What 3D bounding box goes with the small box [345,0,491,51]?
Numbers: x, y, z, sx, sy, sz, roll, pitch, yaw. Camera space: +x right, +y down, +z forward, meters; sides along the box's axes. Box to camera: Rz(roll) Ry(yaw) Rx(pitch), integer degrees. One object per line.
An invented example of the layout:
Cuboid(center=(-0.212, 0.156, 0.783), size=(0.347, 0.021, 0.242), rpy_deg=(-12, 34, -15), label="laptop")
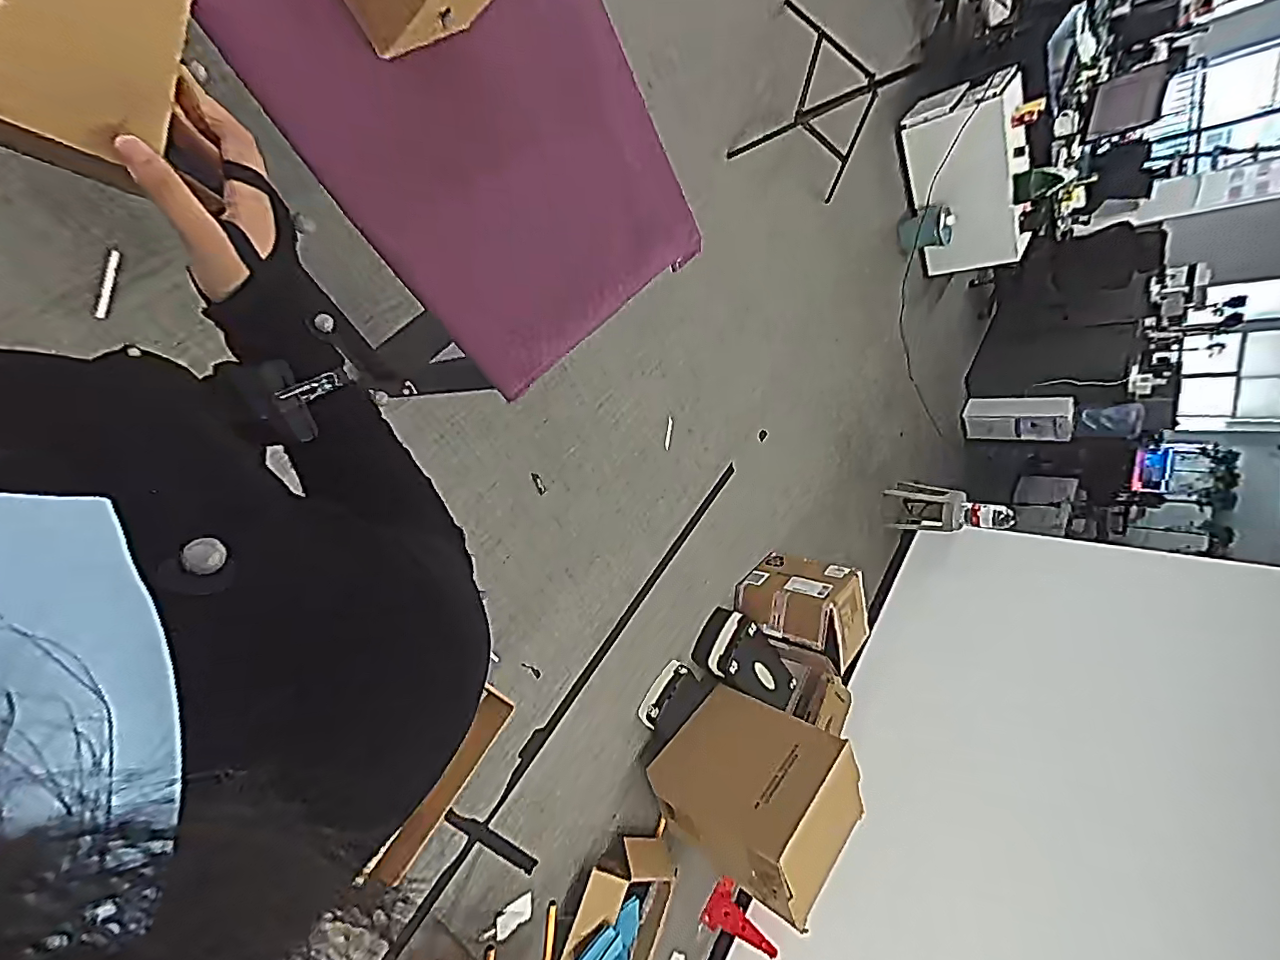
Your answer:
Cuboid(center=(-0.280, -0.668, 0.661), size=(0.168, 0.176, 0.179), rpy_deg=(-51, 127, -28), label="small box")
